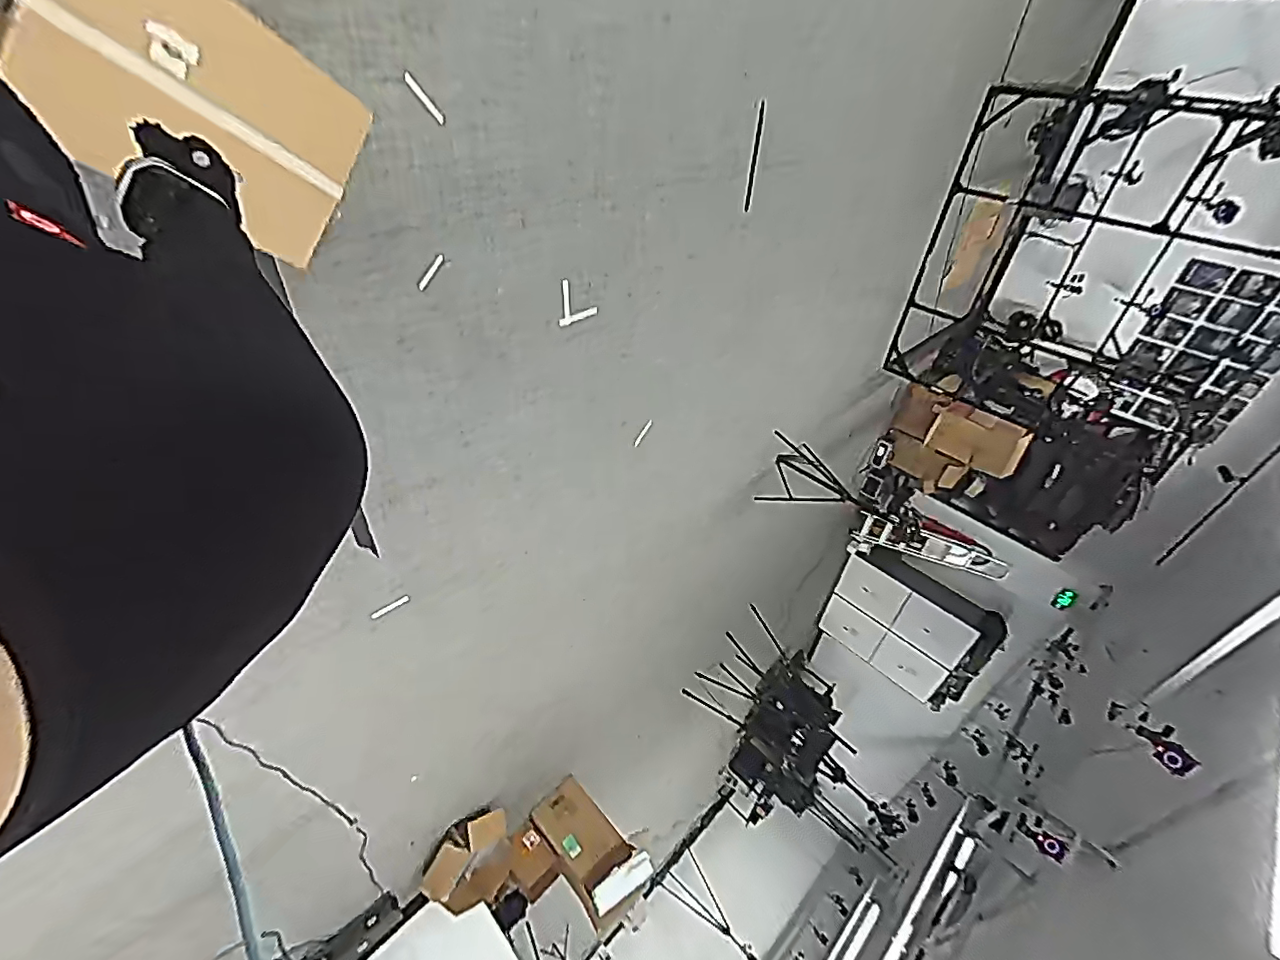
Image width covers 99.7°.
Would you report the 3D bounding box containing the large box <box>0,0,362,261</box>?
[{"bbox_3d":[-0.777,-0.642,0.909,0.408,0.320,0.320,18,104,-57],"label":"large box"}]
